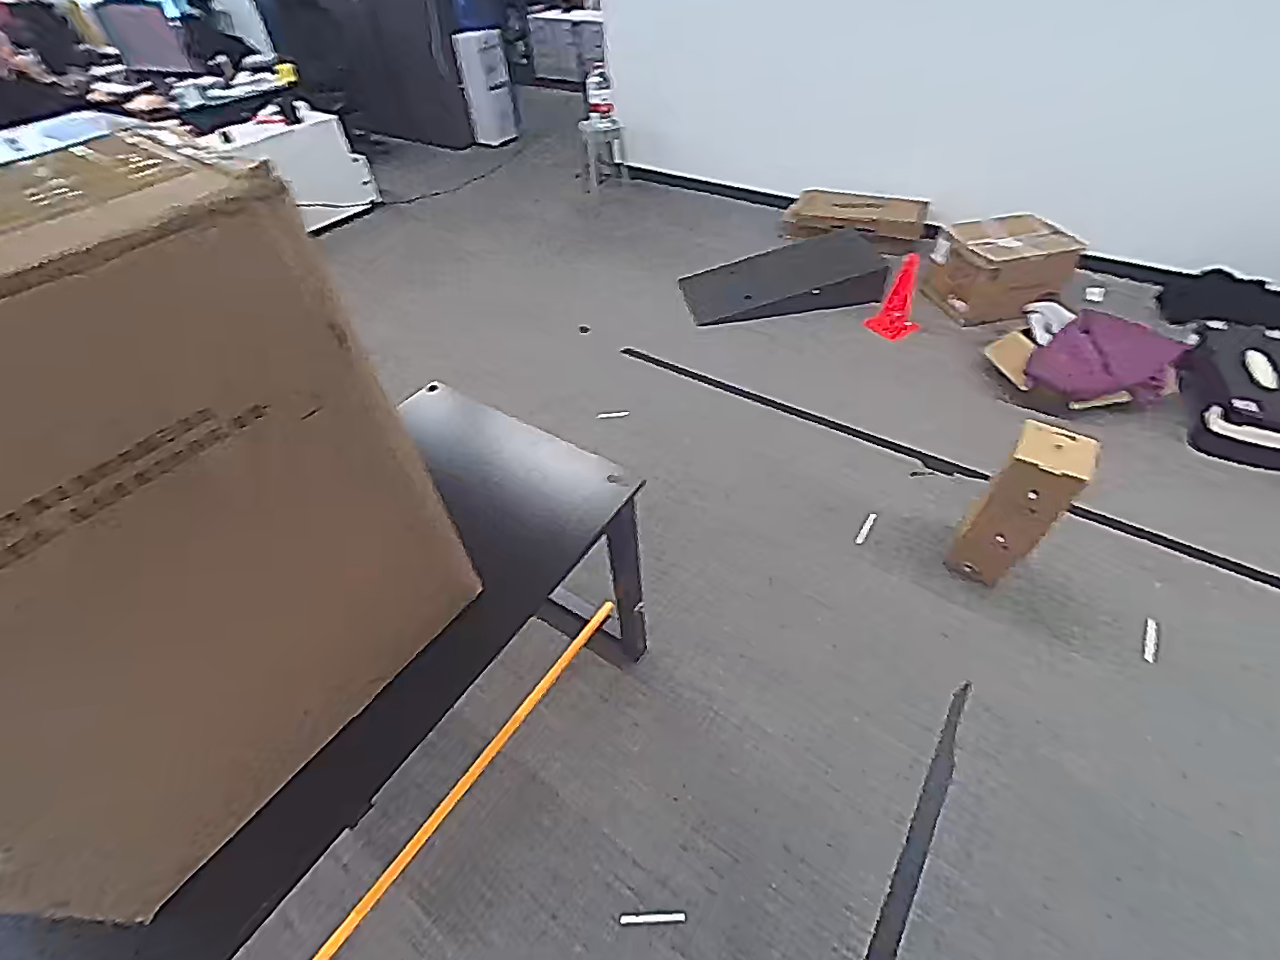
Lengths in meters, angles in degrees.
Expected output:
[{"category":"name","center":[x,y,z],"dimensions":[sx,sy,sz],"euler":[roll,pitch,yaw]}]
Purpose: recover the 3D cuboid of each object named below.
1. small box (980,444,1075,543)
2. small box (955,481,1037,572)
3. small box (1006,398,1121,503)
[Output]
[{"category":"small box","center":[1.069,0.037,1.487],"dimensions":[0.168,0.176,0.179],"euler":[25,54,25]},{"category":"small box","center":[1.074,0.140,1.616],"dimensions":[0.168,0.176,0.179],"euler":[25,55,24]},{"category":"small box","center":[1.061,-0.072,1.365],"dimensions":[0.168,0.176,0.179],"euler":[26,54,25]}]
